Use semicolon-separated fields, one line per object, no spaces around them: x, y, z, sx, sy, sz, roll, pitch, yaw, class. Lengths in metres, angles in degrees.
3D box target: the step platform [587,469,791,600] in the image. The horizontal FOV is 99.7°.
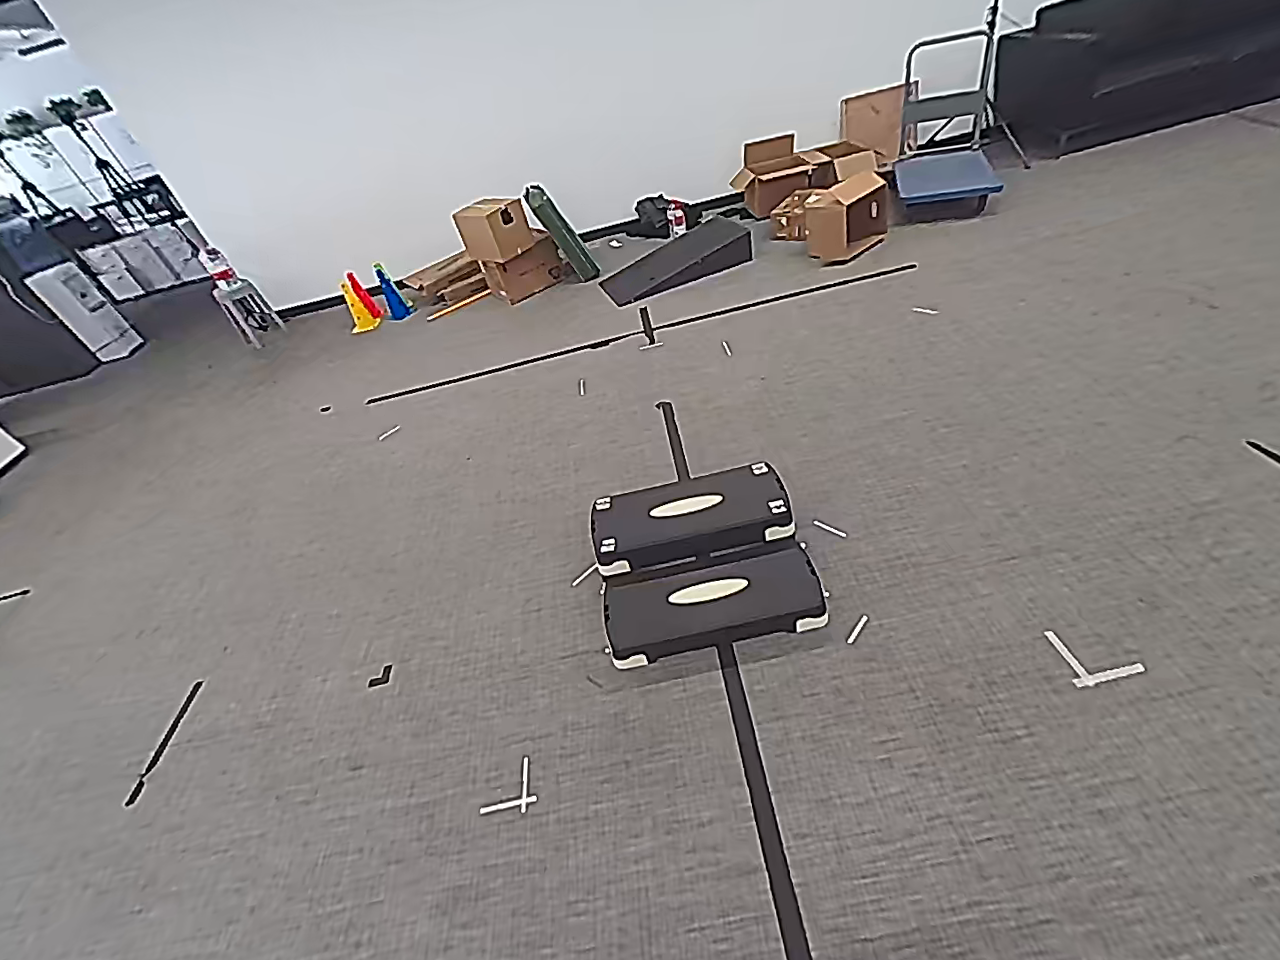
0.160;0.179;1.857;0.684;0.204;0.286;-13;42;2;step platform
